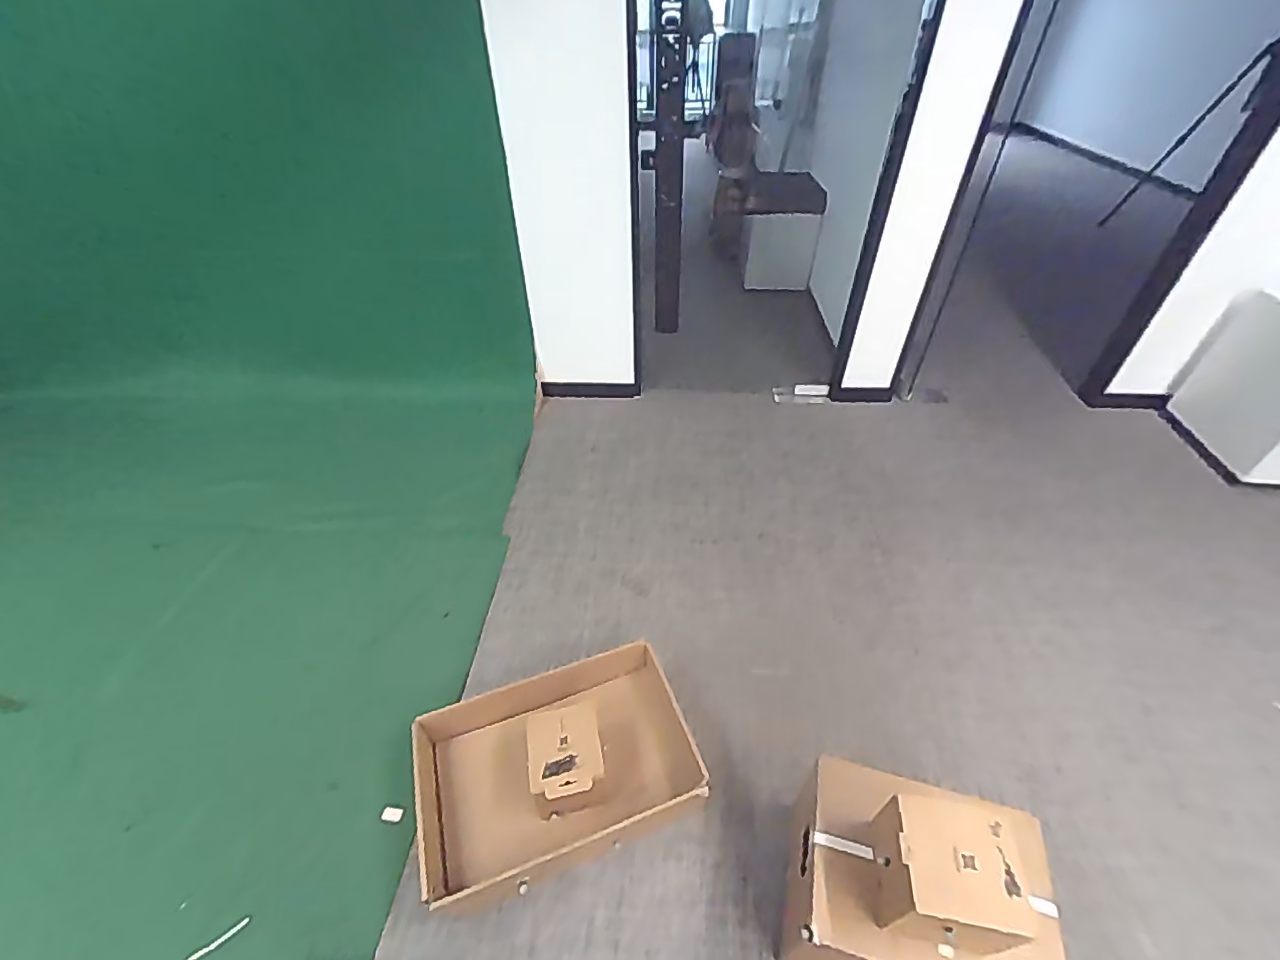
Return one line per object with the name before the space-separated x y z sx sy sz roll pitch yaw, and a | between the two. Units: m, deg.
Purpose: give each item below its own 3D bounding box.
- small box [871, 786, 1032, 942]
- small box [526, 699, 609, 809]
small box | 0.499 0.642 0.903 0.179 0.176 0.168 6 44 9
small box | -0.171 0.658 1.288 0.168 0.176 0.179 -10 41 -8
